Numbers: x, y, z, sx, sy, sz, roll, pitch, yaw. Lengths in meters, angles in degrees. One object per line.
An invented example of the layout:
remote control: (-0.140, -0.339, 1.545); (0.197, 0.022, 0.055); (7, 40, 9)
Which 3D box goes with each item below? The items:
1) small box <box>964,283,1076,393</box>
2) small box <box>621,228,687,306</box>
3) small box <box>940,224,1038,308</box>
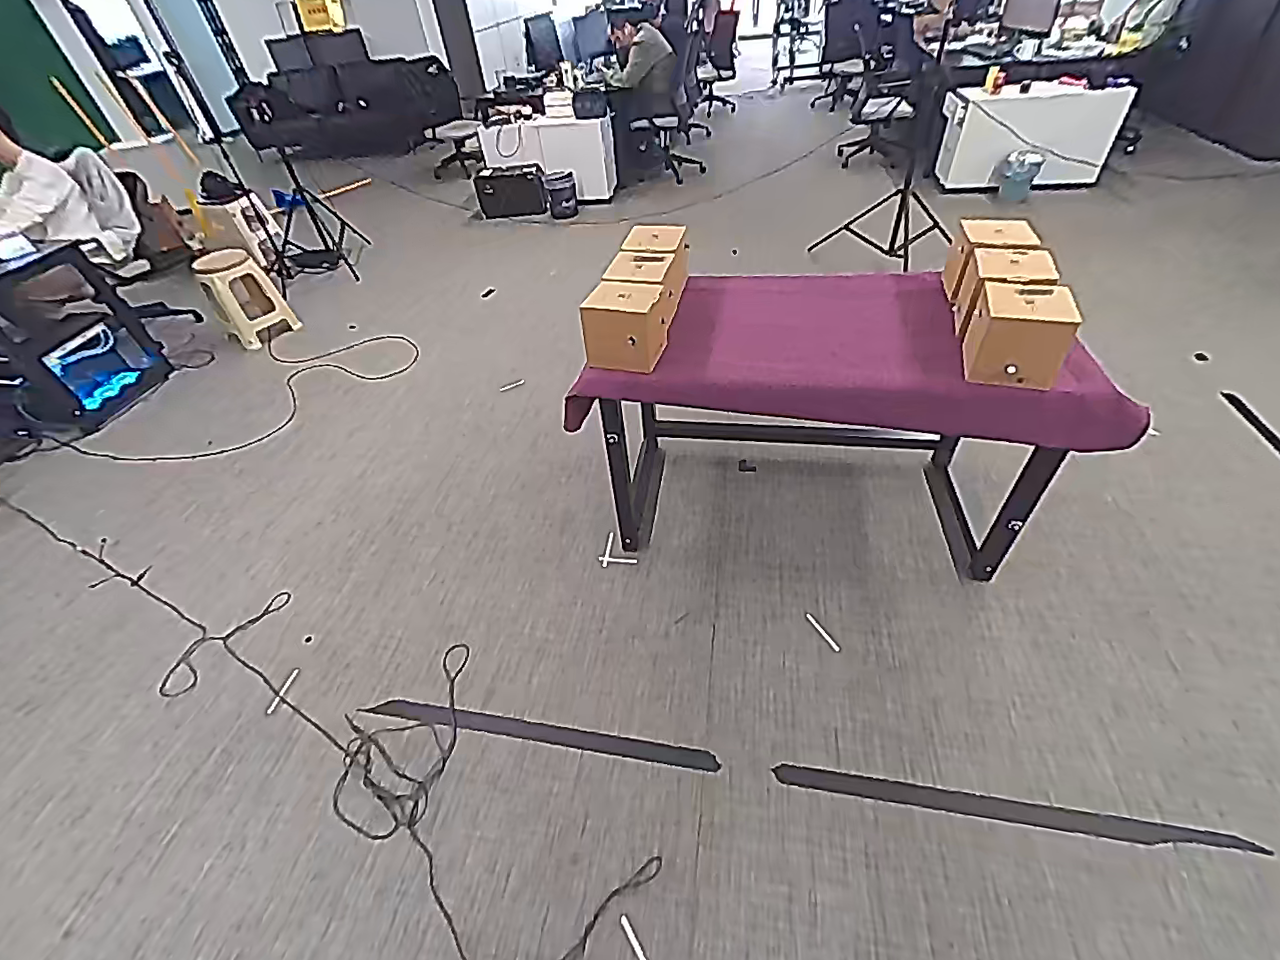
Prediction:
small box: (0.850, -0.323, 1.227); (0.168, 0.176, 0.179); (11, 50, 21)
small box: (0.047, -0.653, 1.654); (0.168, 0.176, 0.179); (7, 46, 13)
small box: (0.948, -0.588, 1.490); (0.168, 0.176, 0.179); (7, 45, 12)
